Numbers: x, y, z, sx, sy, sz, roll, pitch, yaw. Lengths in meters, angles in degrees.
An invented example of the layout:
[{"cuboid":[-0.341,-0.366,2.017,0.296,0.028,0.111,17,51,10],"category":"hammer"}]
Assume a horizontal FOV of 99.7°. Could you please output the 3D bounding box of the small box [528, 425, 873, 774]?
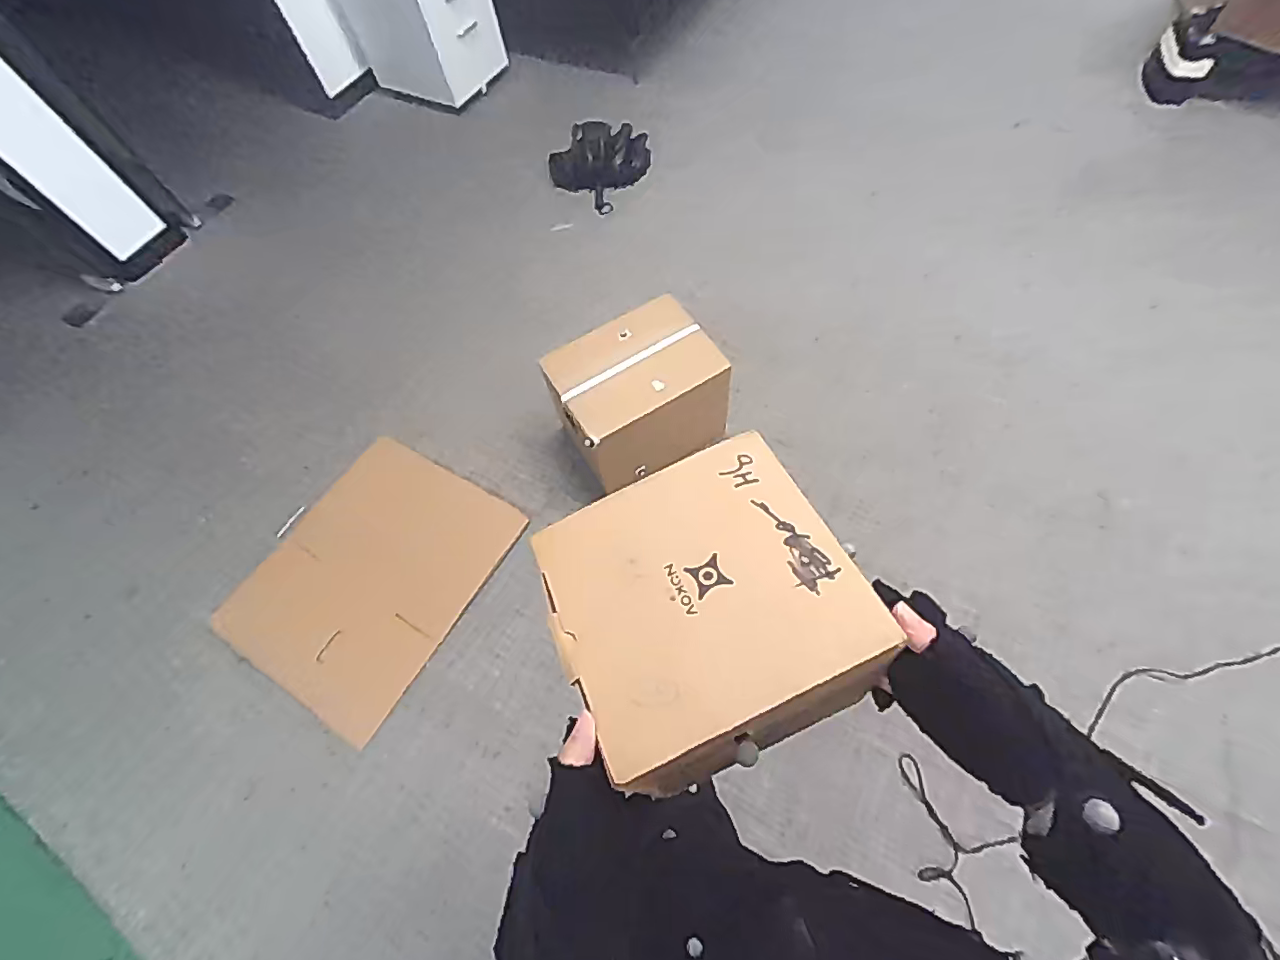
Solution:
[{"cuboid":[0.045,0.098,0.411,0.179,0.176,0.168,-27,54,-5],"category":"small box"}]
